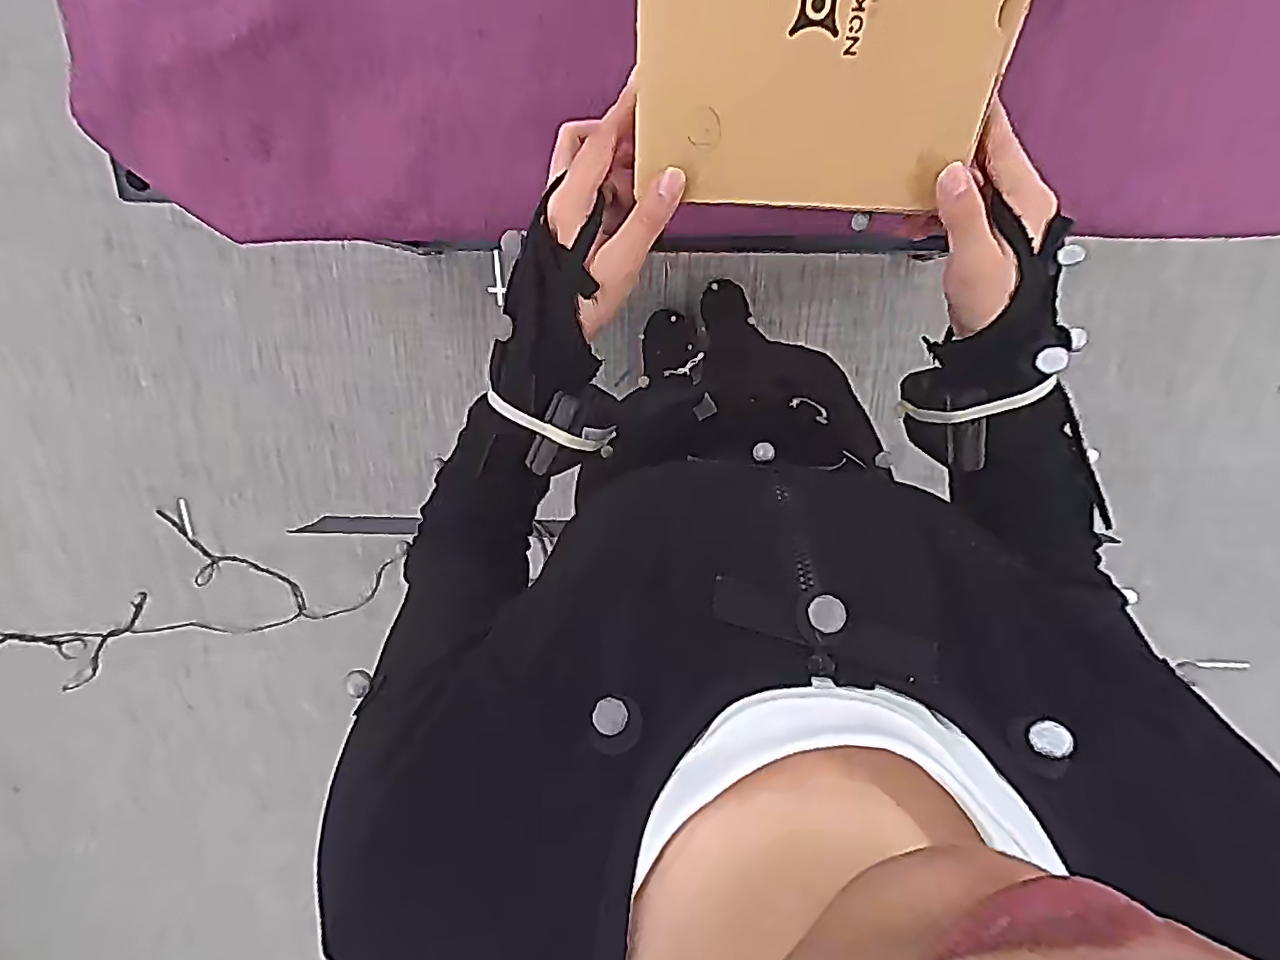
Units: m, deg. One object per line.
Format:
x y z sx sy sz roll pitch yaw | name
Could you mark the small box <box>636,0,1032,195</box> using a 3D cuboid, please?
0.091 -0.265 0.304 0.179 0.176 0.168 2 125 1 | small box
